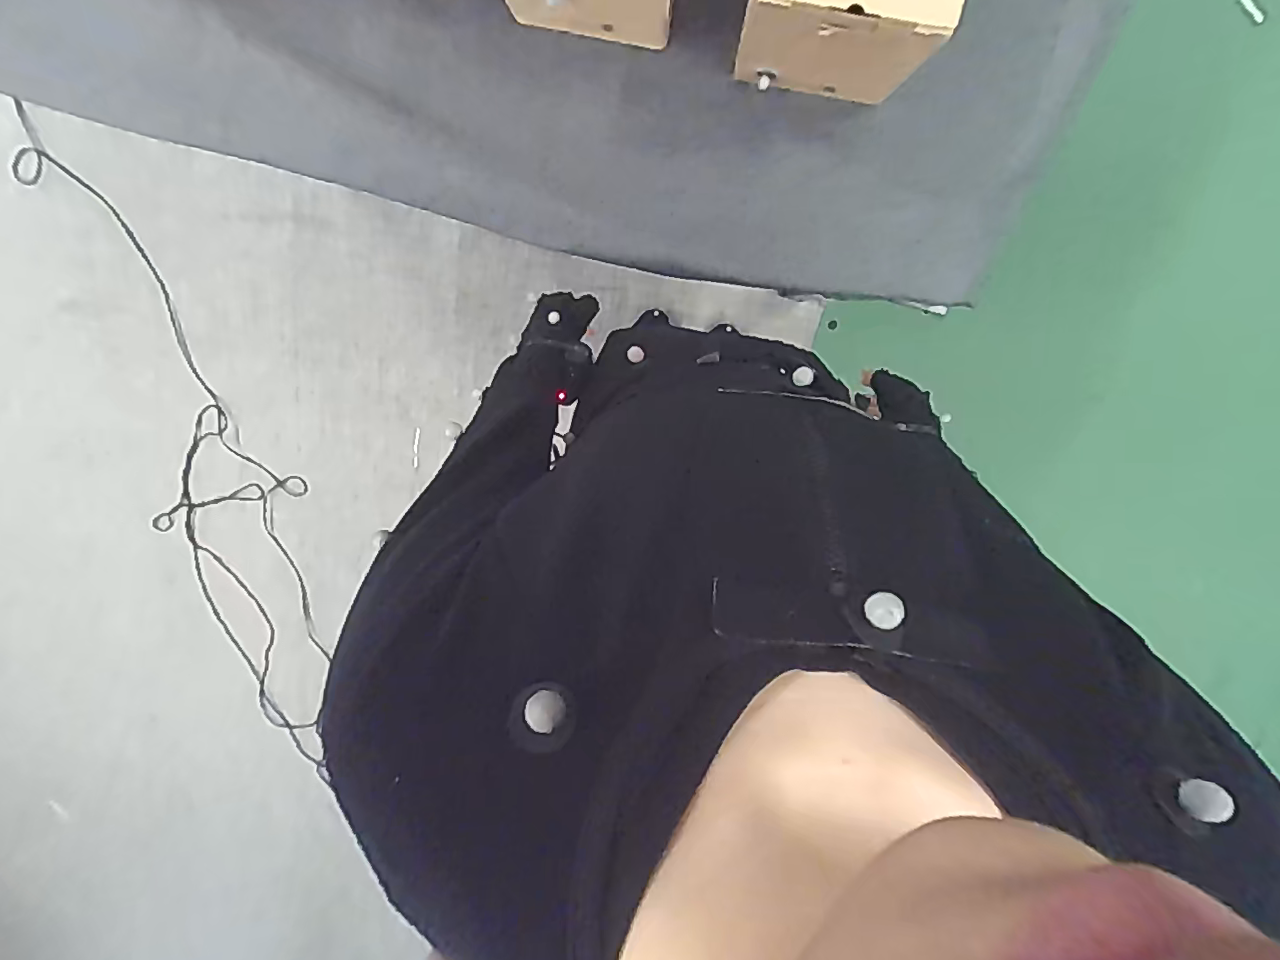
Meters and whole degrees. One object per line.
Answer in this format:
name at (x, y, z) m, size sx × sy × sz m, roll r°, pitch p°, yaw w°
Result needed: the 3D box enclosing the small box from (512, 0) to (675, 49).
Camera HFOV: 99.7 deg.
small box at (-0.042, -0.529, 0.480) m, size 0.168 × 0.176 × 0.179 m, roll 11°, pitch 108°, yaw 0°
